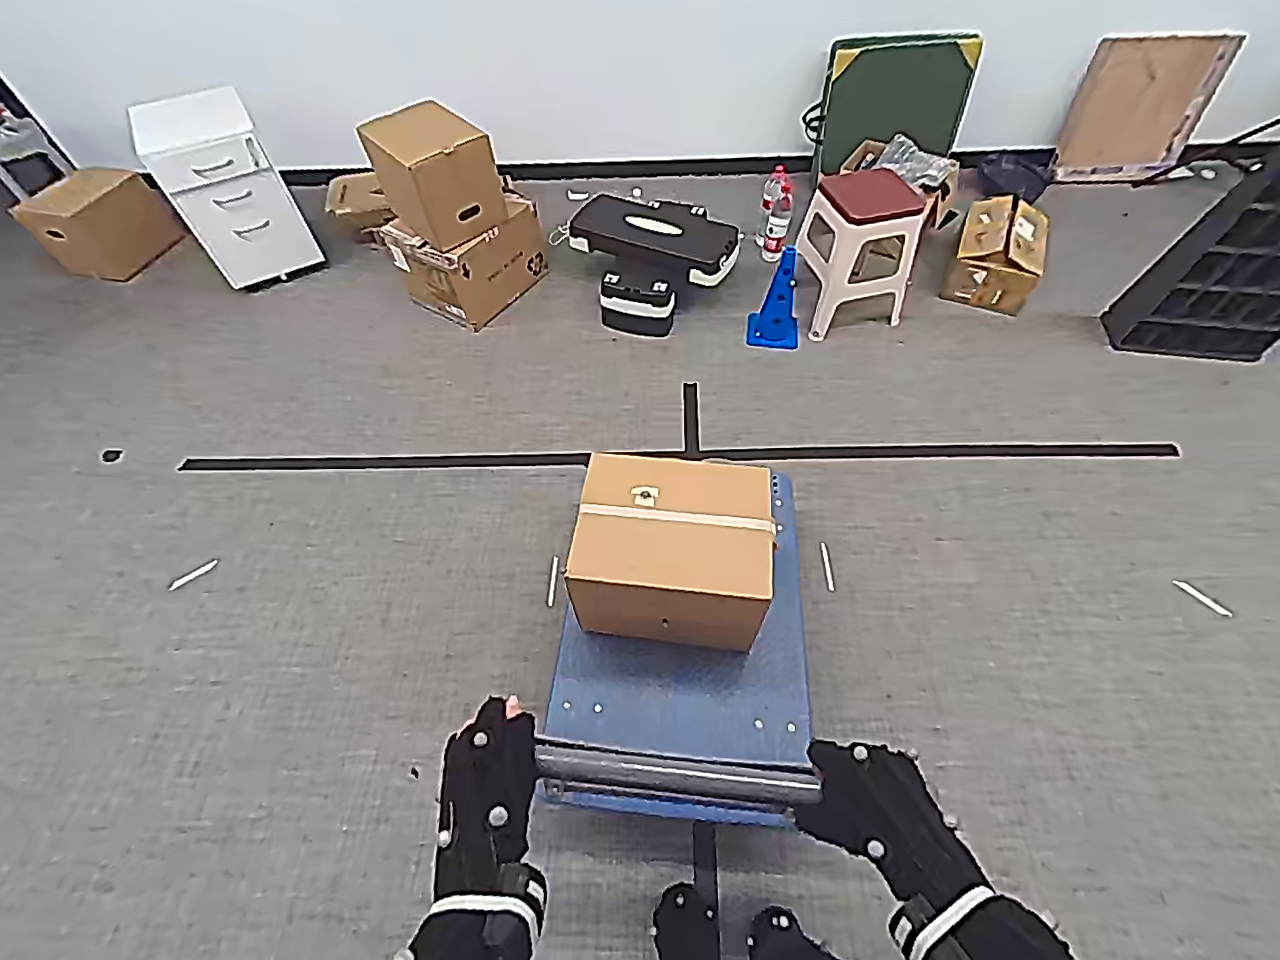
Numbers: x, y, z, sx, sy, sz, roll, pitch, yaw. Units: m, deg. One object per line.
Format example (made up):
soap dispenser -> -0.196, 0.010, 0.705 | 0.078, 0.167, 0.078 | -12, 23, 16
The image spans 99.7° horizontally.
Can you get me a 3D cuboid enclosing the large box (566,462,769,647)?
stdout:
large box -> 0.074, 0.179, 1.254 | 0.408, 0.320, 0.320 | 4, 55, 6
